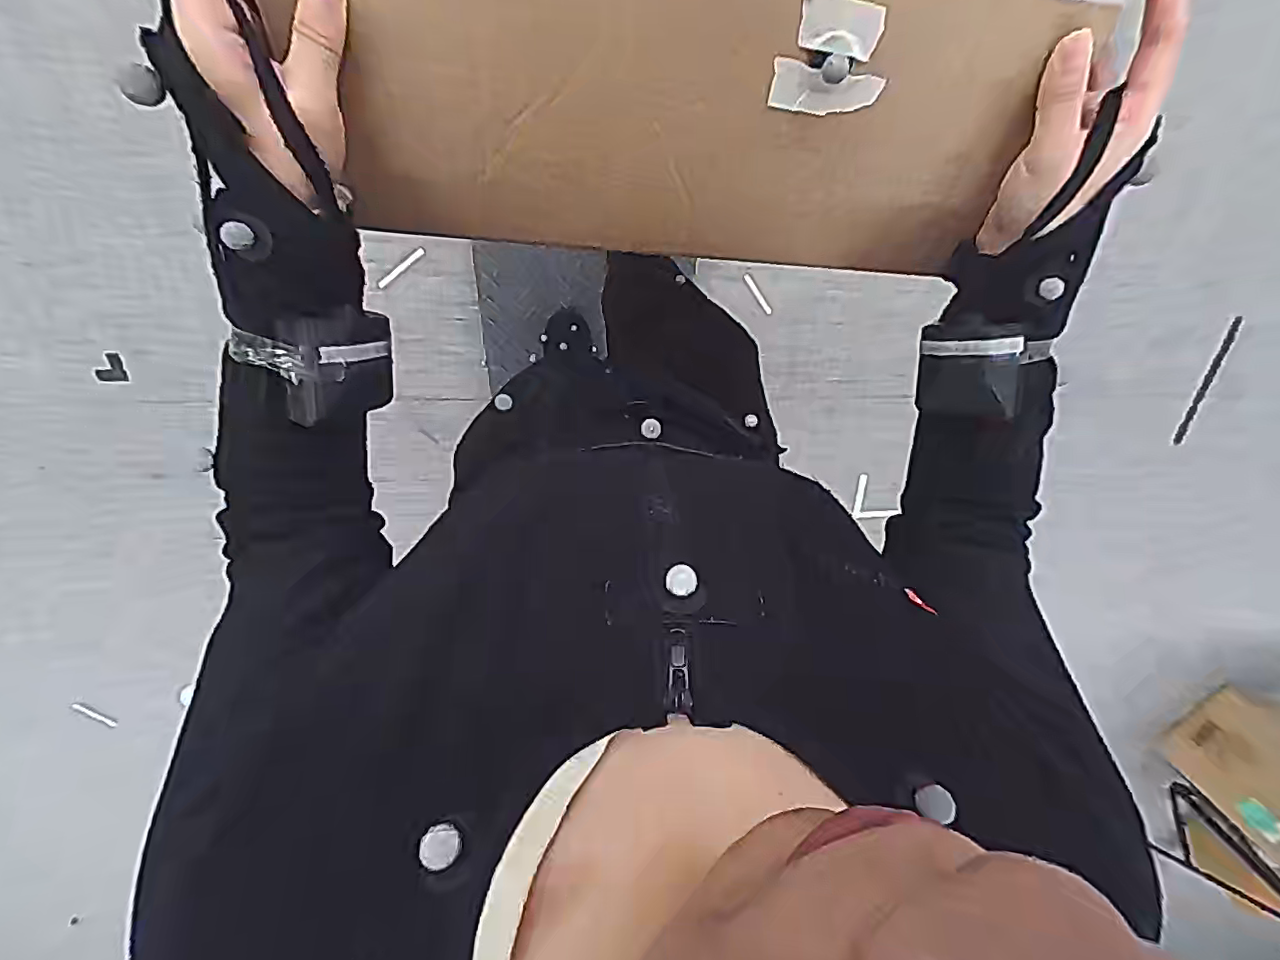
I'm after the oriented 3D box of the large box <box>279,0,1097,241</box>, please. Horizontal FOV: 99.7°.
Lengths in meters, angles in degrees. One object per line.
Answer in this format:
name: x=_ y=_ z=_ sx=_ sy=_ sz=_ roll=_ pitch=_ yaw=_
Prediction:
large box: x=0.023 y=-0.375 z=0.319 sx=0.408 sy=0.320 sz=0.320 roll=1 pitch=143 yaw=-8
